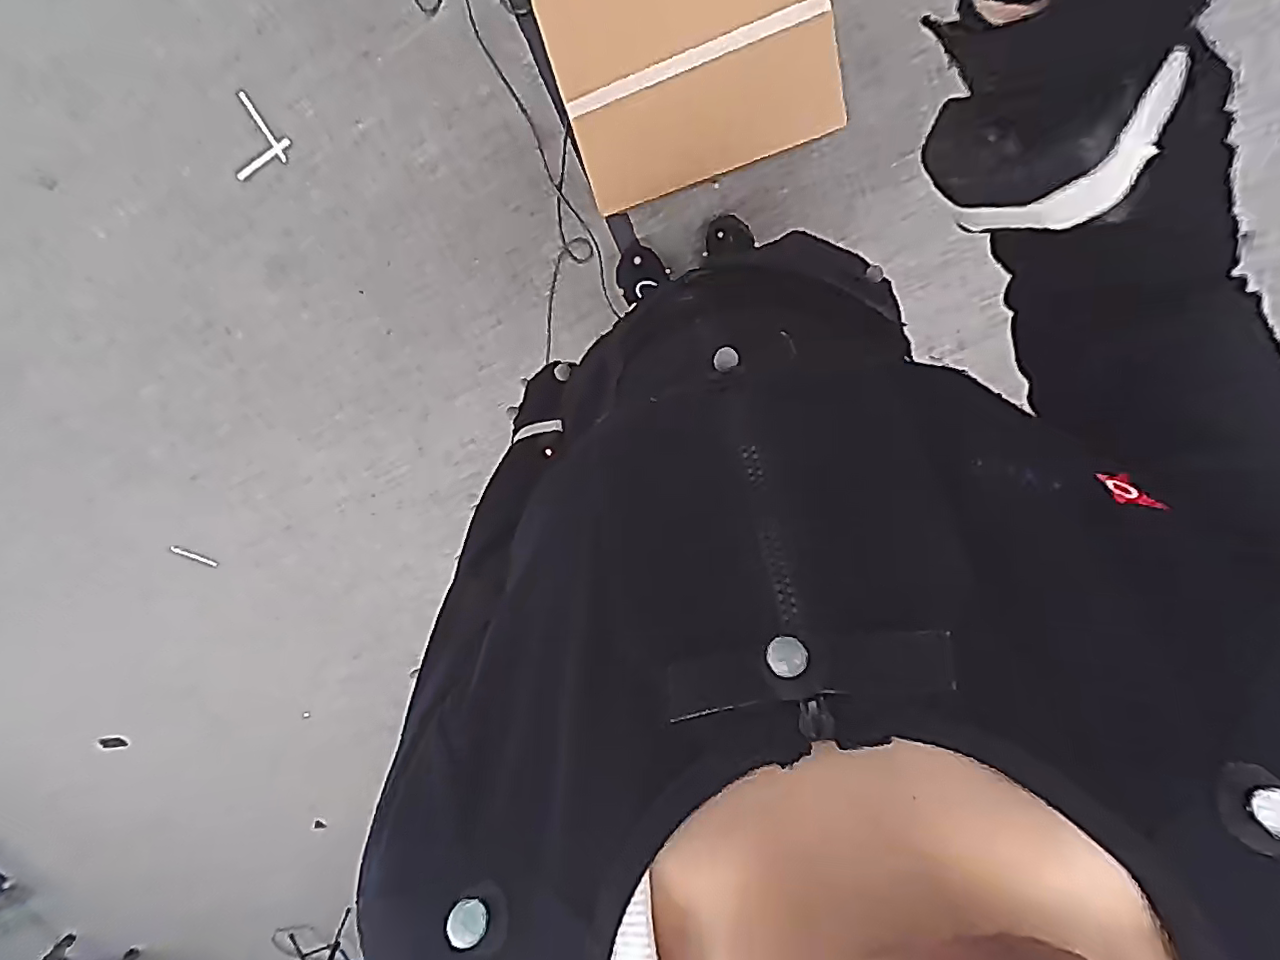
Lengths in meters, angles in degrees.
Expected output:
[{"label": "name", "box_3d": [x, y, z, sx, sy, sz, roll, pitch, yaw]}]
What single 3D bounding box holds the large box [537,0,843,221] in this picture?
[{"label": "large box", "box_3d": [0.090, -0.683, 0.944, 0.408, 0.320, 0.320, -15, 116, 11]}]
